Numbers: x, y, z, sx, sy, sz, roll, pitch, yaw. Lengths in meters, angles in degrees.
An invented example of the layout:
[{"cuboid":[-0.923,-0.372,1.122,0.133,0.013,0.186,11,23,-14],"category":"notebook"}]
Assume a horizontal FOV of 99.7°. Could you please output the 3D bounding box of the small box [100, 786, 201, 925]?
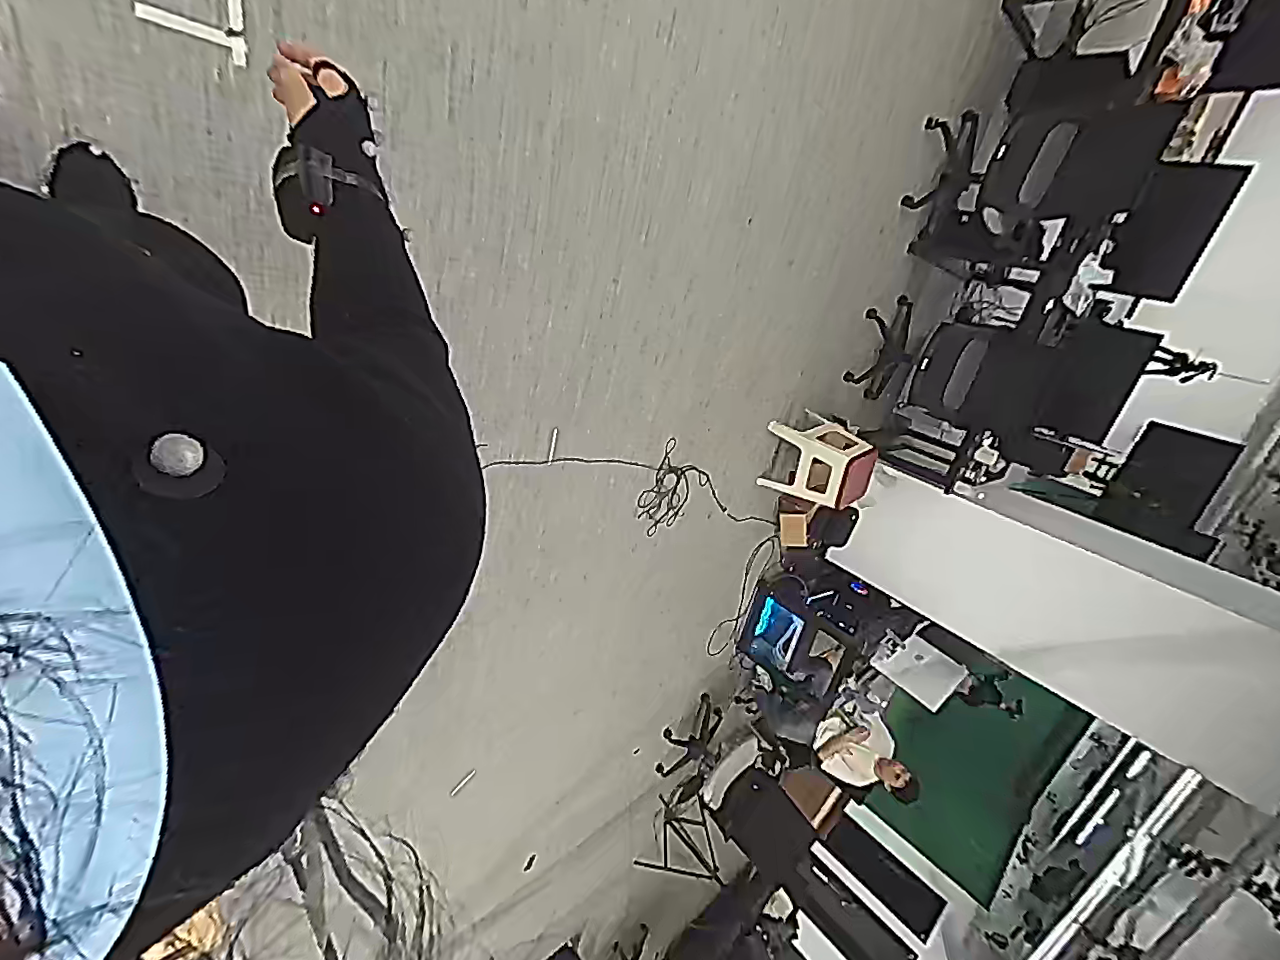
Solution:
[{"cuboid":[-1.159,0.878,1.283,0.168,0.176,0.179,-5,118,-46],"category":"small box"}]
